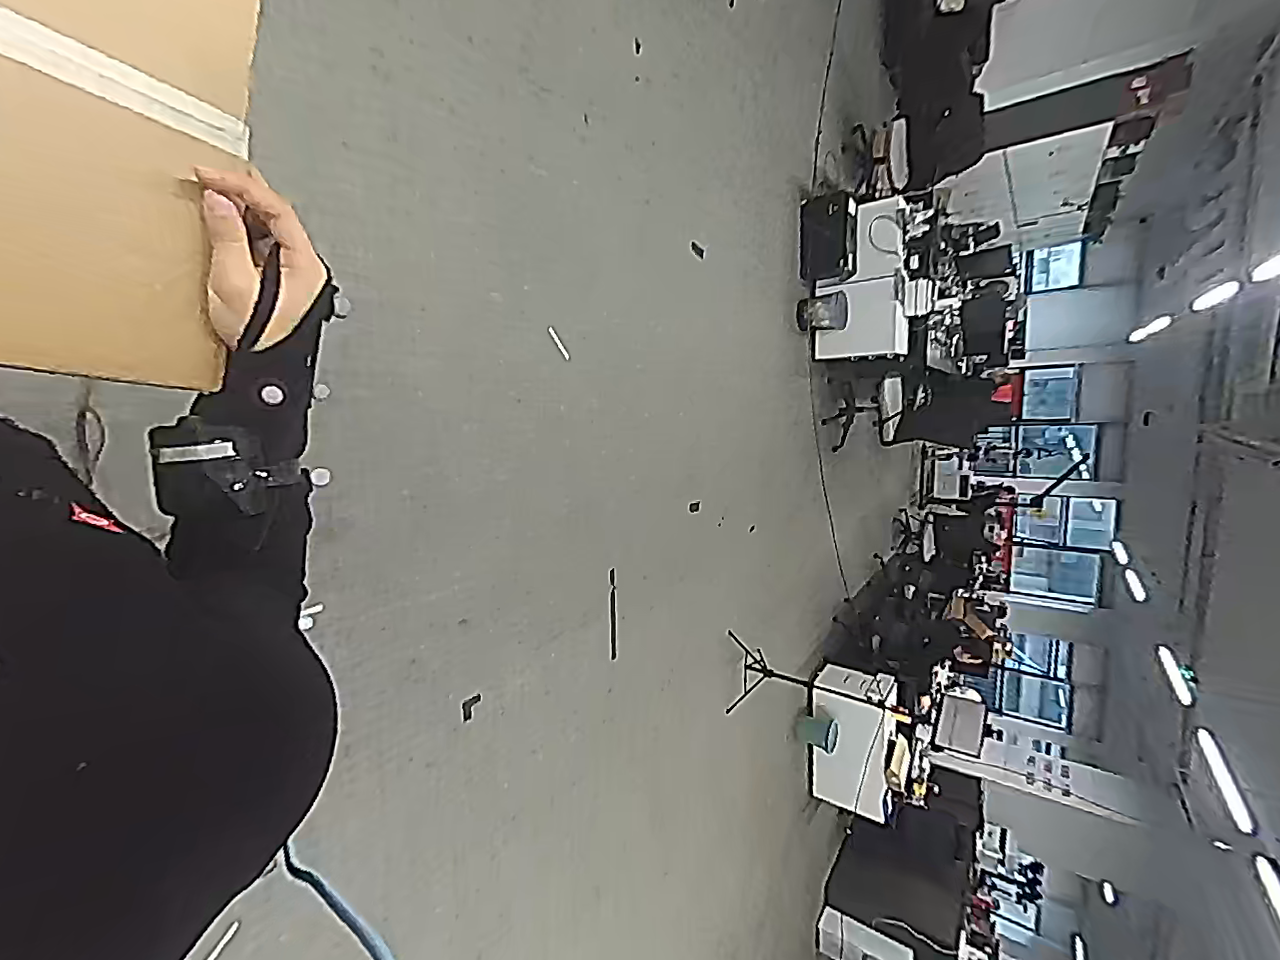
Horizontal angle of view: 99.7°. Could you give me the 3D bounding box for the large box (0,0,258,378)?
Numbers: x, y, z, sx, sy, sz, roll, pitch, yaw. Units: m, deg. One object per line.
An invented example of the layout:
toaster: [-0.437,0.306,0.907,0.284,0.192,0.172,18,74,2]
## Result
large box: [-0.489,-0.245,0.269,0.408,0.320,0.320,1,100,-56]
